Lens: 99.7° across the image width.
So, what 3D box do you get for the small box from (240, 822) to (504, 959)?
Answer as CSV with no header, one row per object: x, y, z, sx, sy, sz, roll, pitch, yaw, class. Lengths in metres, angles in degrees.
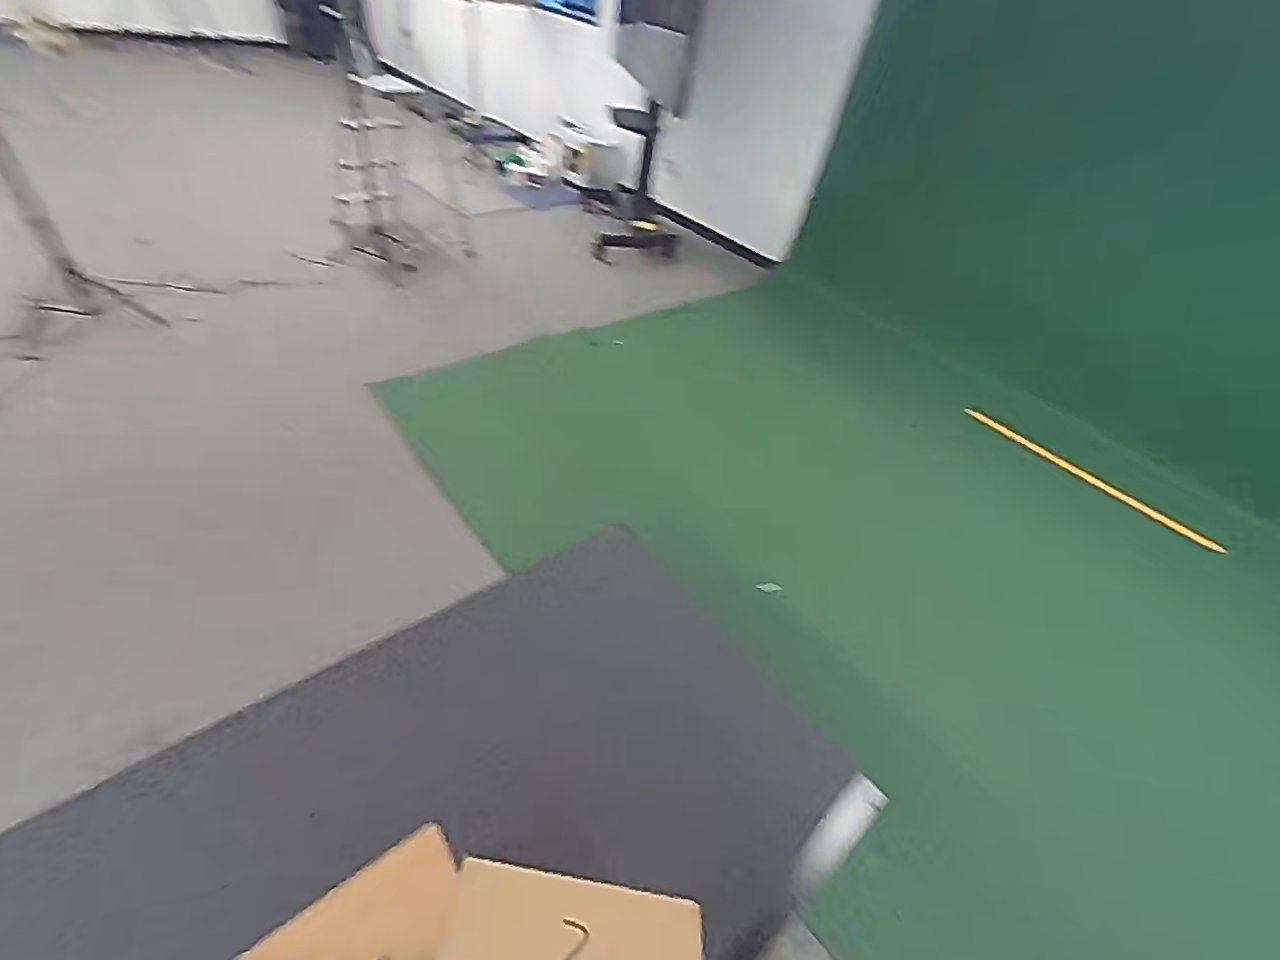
-0.213,0.456,0.475,0.168,0.176,0.179,-25,54,-33,small box
